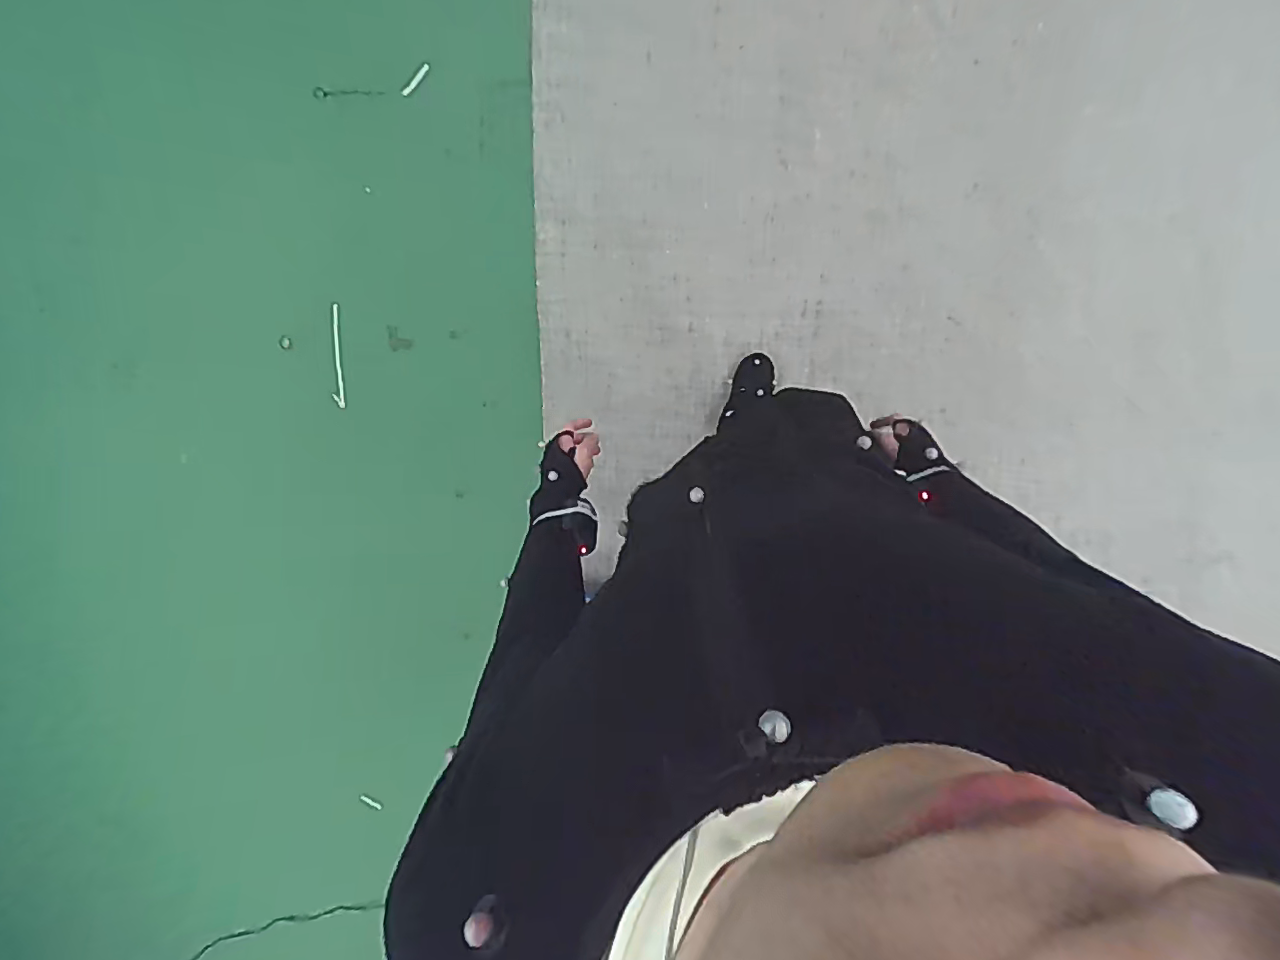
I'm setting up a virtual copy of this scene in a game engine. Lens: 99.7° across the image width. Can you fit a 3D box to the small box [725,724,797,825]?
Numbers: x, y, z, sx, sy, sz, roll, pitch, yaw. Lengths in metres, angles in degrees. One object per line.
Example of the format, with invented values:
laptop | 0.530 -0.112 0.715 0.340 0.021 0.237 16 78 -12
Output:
small box | 0.327 0.803 1.491 0.168 0.176 0.179 5 102 6
